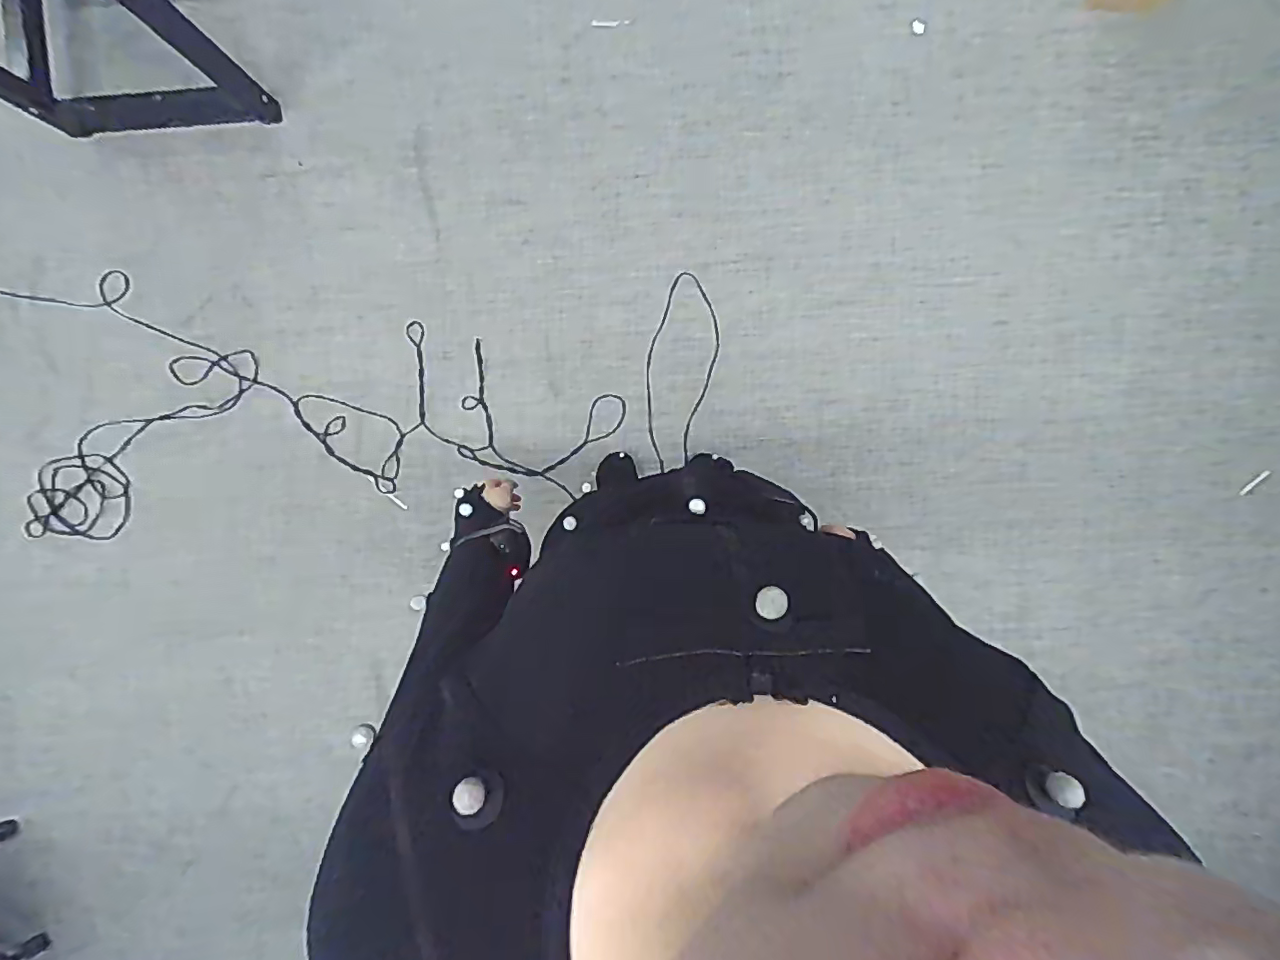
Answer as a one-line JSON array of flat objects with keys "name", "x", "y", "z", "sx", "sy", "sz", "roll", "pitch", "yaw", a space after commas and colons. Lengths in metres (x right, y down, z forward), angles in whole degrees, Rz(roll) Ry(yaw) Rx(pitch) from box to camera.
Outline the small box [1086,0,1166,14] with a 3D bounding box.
[{"name": "small box", "x": 1.251, "y": -1.288, "z": 1.316, "sx": 0.179, "sy": 0.176, "sz": 0.168, "roll": 7, "pitch": 93, "yaw": 1}]
